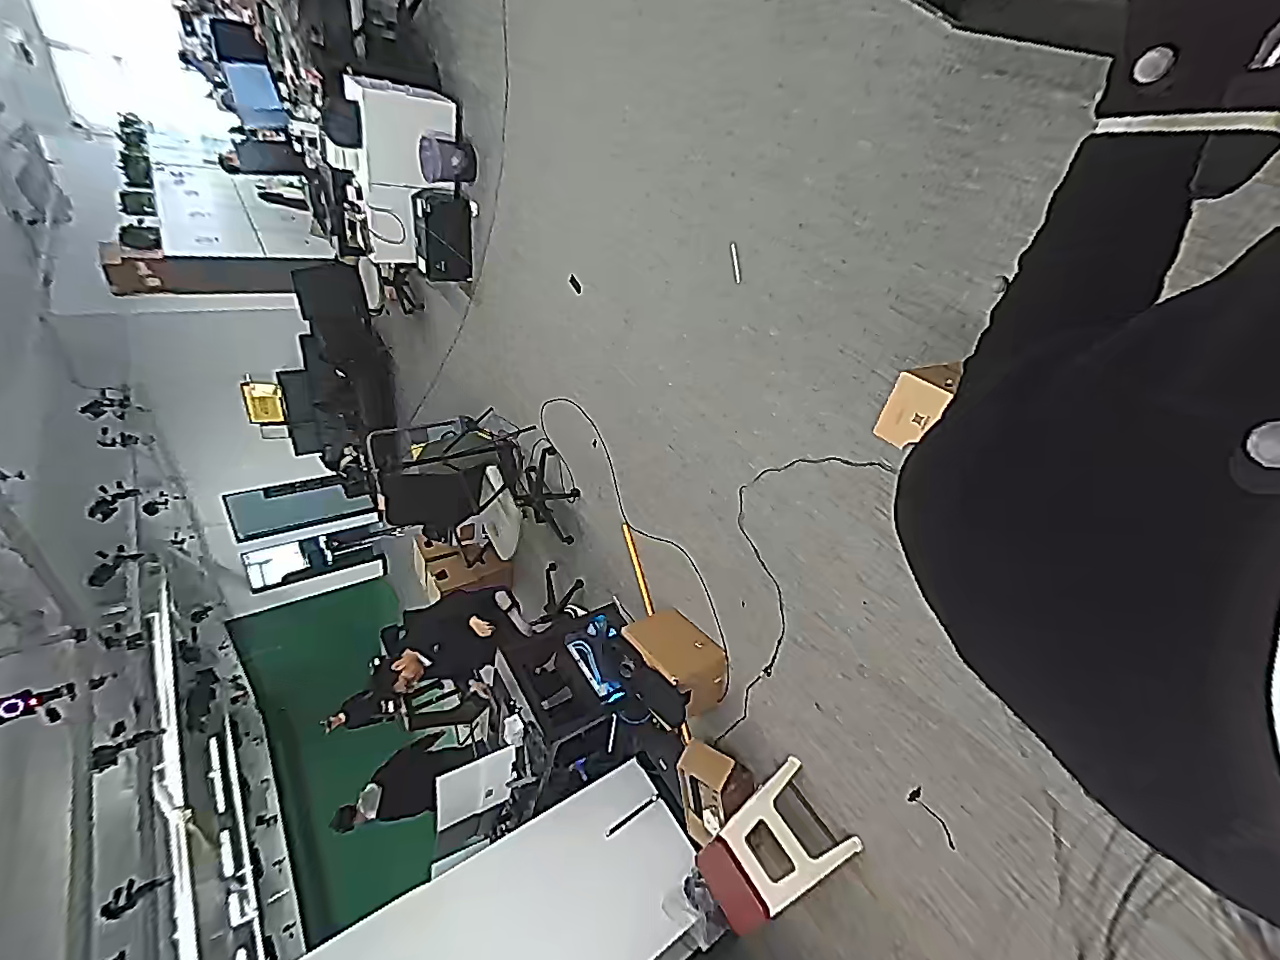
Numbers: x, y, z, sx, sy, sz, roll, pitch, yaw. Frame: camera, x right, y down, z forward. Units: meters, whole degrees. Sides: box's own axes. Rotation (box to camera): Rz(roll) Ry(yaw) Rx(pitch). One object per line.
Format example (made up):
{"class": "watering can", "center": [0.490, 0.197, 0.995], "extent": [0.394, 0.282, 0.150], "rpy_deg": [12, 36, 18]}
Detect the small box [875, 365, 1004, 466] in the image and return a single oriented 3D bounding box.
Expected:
{"class": "small box", "center": [0.693, -0.157, 1.251], "extent": [0.179, 0.176, 0.168], "rpy_deg": [44, 134, 38]}
